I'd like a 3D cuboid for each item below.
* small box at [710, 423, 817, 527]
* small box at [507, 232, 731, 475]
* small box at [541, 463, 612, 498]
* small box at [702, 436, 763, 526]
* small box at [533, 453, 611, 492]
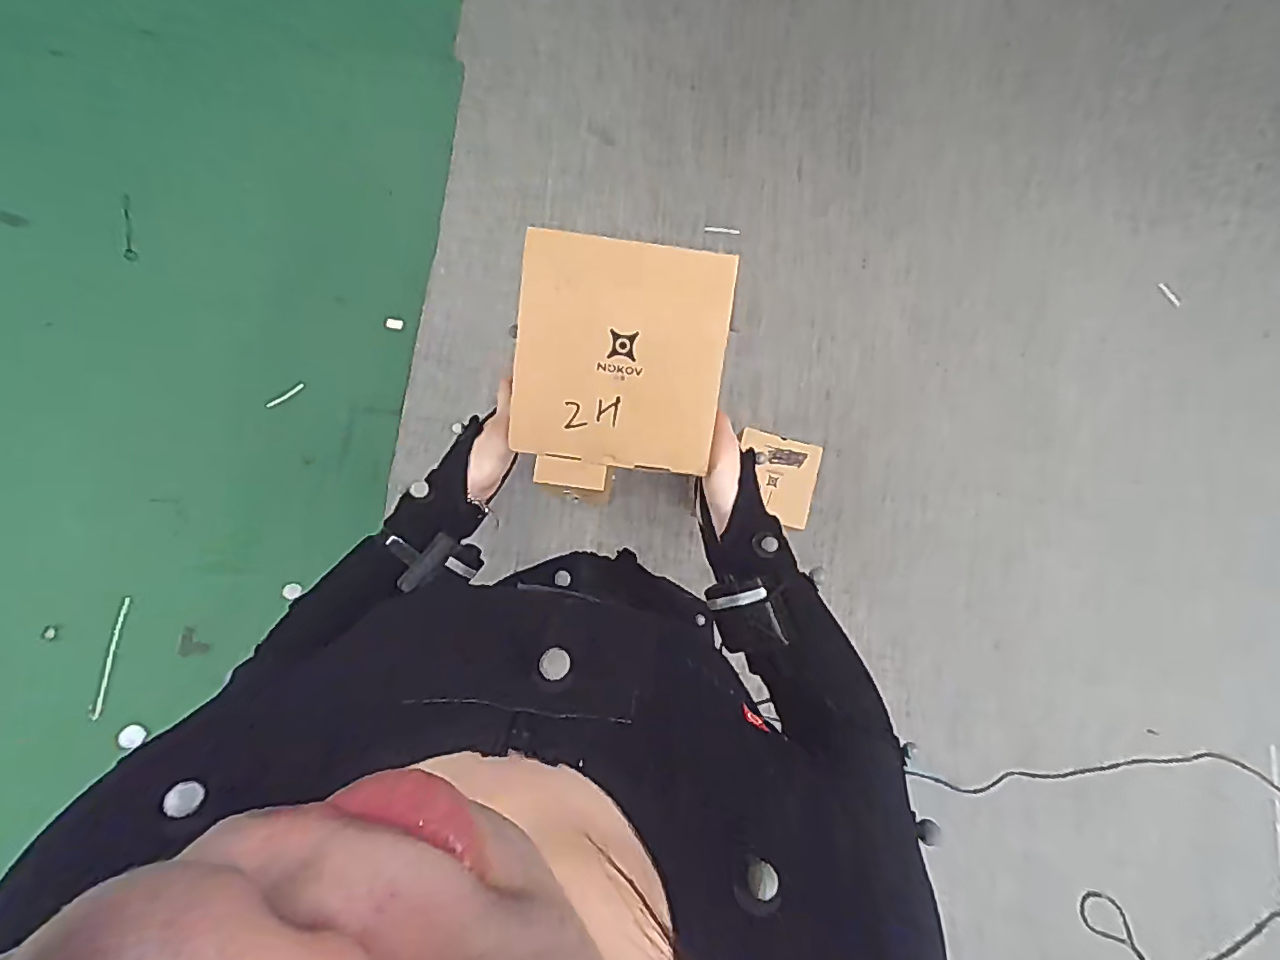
[{"bbox_3d":[0.257,-0.003,1.165,0.168,0.176,0.179,16,84,0],"label":"small box"},{"bbox_3d":[-0.020,-0.113,0.518,0.168,0.176,0.179,8,100,-2],"label":"small box"},{"bbox_3d":[-0.163,-0.052,1.489,0.168,0.176,0.179,11,83,0],"label":"small box"},{"bbox_3d":[0.255,0.010,1.329,0.168,0.176,0.179,14,83,0],"label":"small box"},{"bbox_3d":[-0.156,-0.072,1.328,0.168,0.176,0.179,7,83,1],"label":"small box"}]
